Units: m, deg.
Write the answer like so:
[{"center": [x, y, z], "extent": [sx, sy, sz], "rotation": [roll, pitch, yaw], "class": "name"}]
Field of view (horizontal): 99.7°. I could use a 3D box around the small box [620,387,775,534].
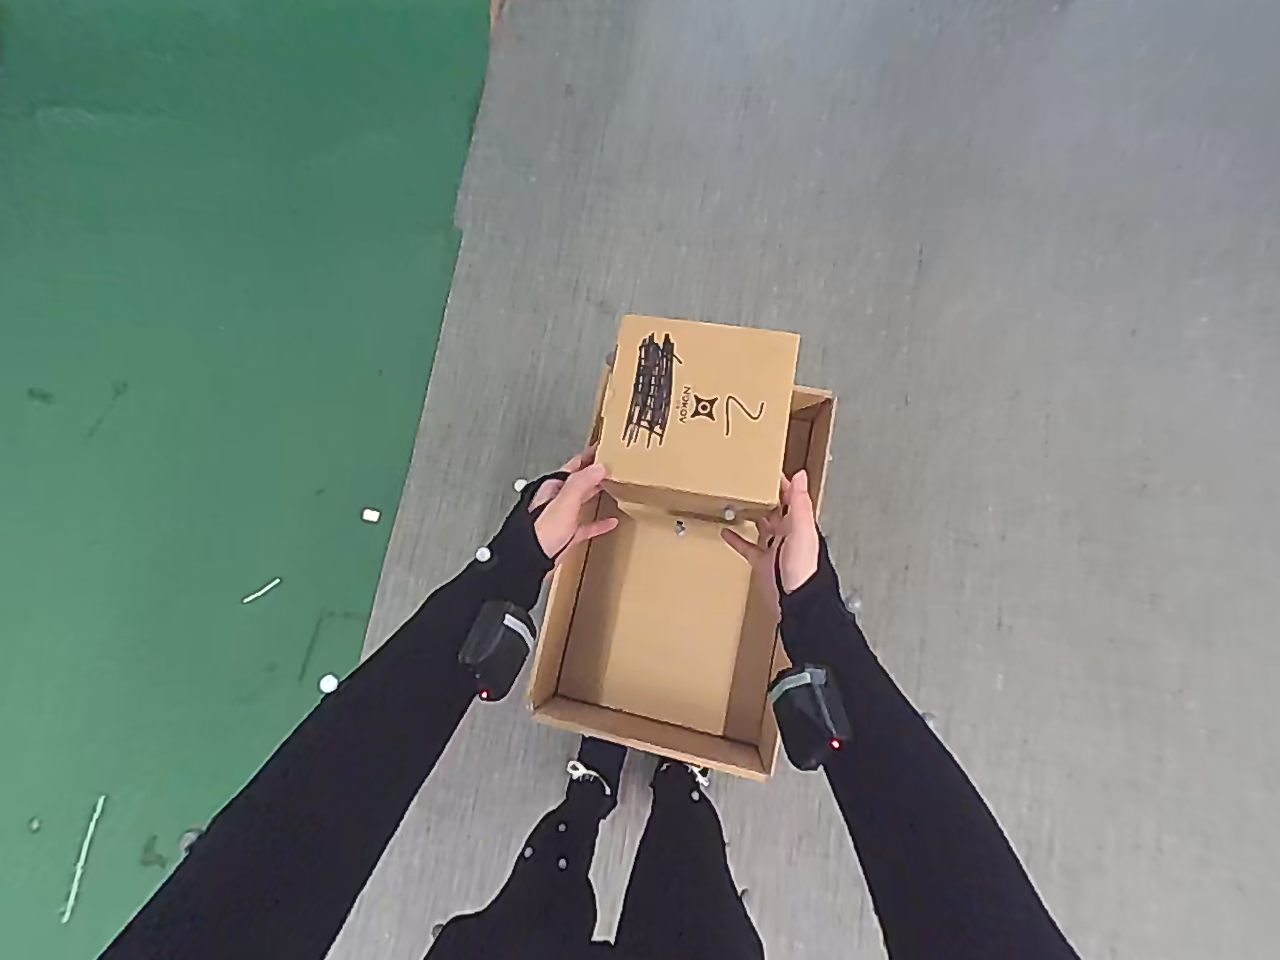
[{"center": [0.083, -0.019, 0.771], "extent": [0.179, 0.176, 0.168], "rotation": [9, 82, 9], "class": "small box"}]
